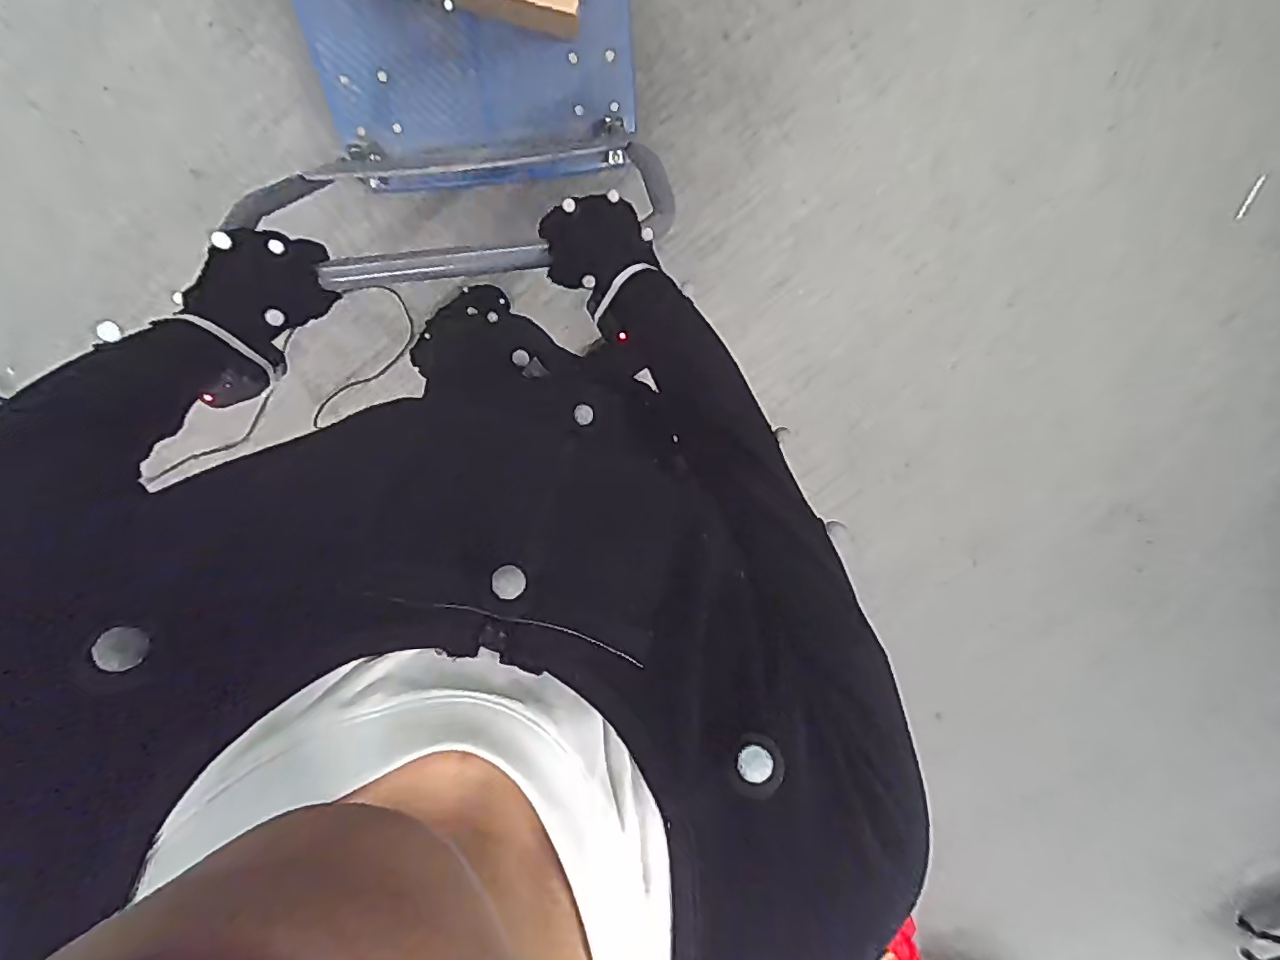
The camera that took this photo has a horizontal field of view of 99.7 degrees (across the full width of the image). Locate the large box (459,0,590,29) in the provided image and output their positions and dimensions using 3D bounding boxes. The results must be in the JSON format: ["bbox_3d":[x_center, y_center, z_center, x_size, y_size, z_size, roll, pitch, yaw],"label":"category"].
[{"bbox_3d":[-0.254,-0.877,0.749,0.408,0.320,0.320,7,123,-10],"label":"large box"}]
